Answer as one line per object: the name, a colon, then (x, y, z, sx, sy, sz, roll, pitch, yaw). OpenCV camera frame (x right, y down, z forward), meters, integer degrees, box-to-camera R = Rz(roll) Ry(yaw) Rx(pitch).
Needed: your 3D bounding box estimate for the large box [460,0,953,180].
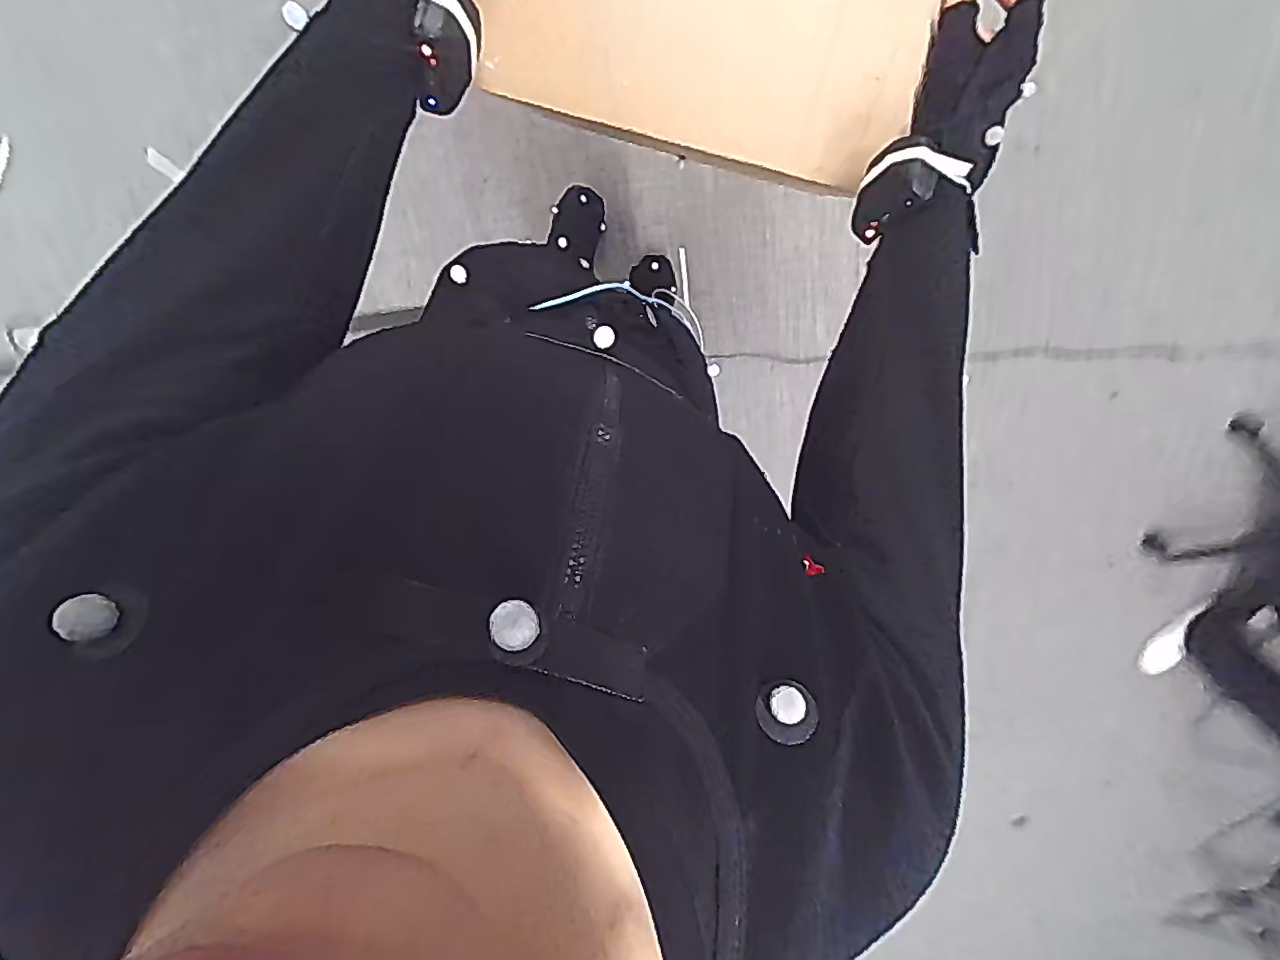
large box: (0.076, -0.515, 0.543, 0.408, 0.320, 0.320, 13, 119, -1)
